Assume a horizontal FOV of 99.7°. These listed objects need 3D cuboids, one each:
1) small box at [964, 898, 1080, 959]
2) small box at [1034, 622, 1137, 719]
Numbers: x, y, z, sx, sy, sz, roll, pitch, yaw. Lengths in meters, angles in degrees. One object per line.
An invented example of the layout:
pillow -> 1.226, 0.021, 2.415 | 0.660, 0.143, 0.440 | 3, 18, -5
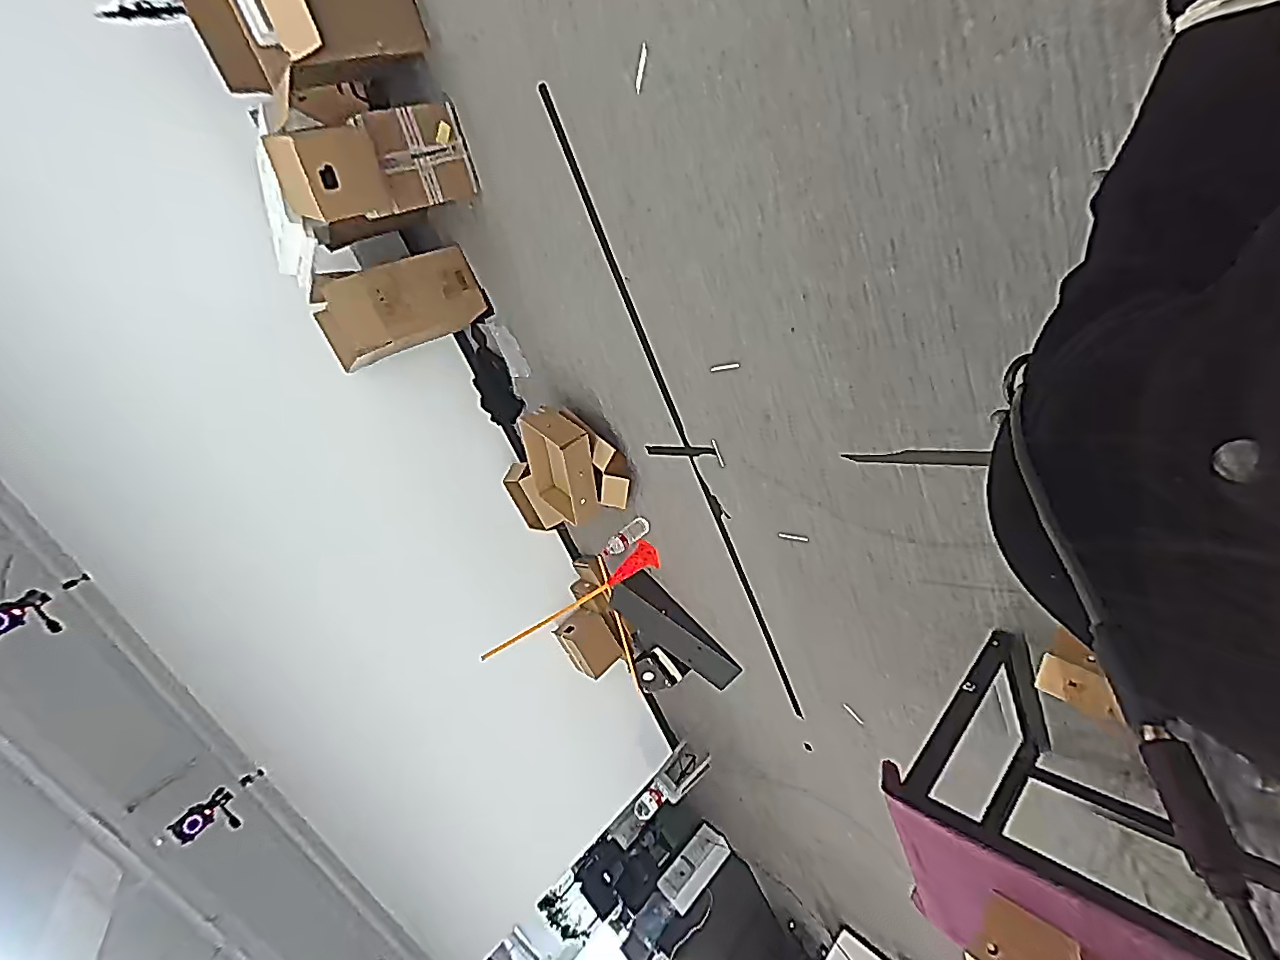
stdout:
small box -> 0.890, 1.128, 1.256 | 0.179, 0.176, 0.168 | 7, 127, 53
small box -> 1.288, 0.540, 1.566 | 0.179, 0.176, 0.168 | 23, 137, 42
